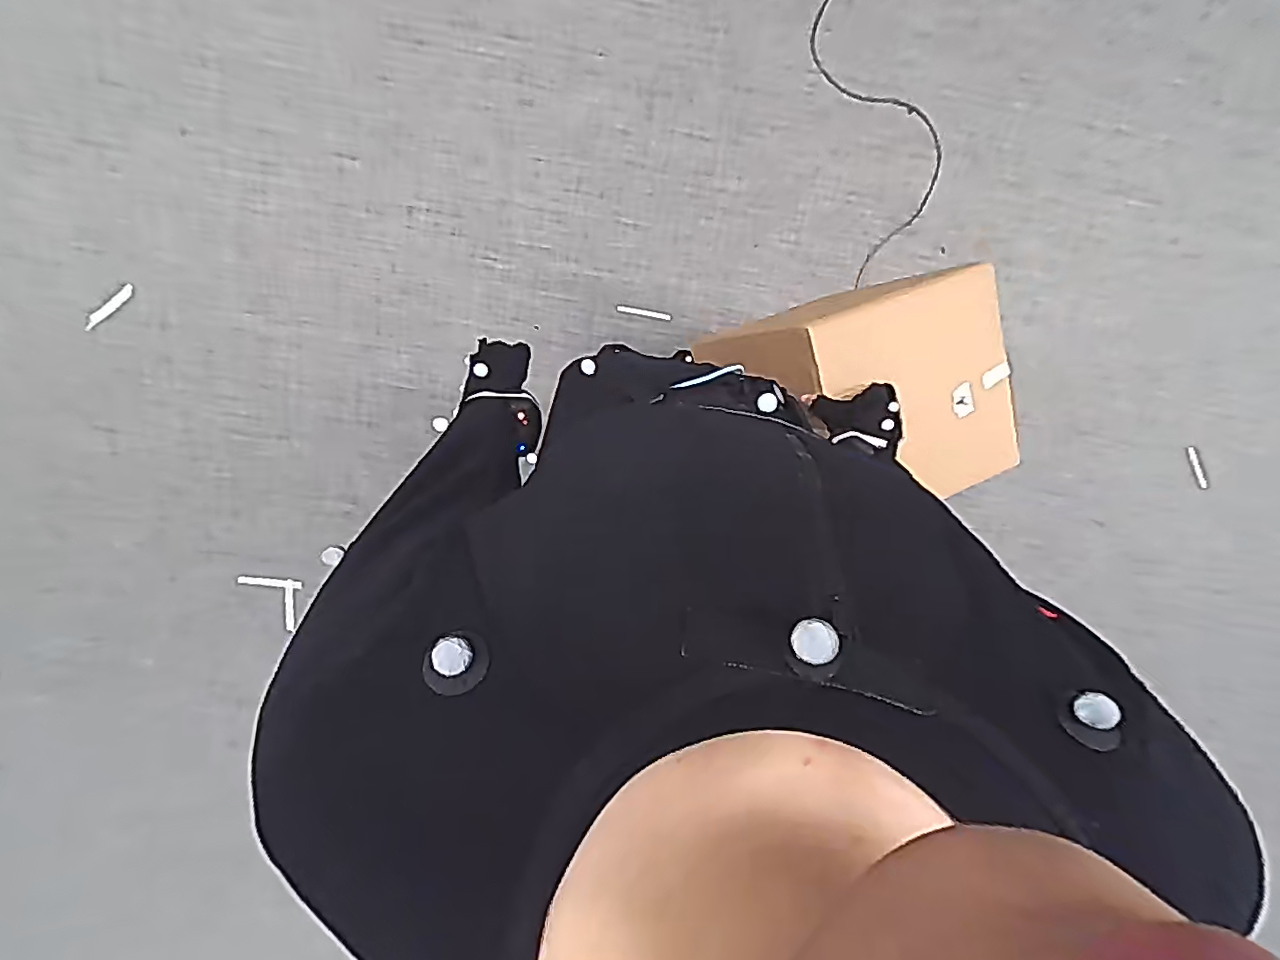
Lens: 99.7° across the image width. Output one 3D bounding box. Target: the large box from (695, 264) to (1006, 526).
[{"bbox_3d":[0.345,-0.155,0.967,0.320,0.408,0.320,-20,105,-11],"label":"large box"}]
